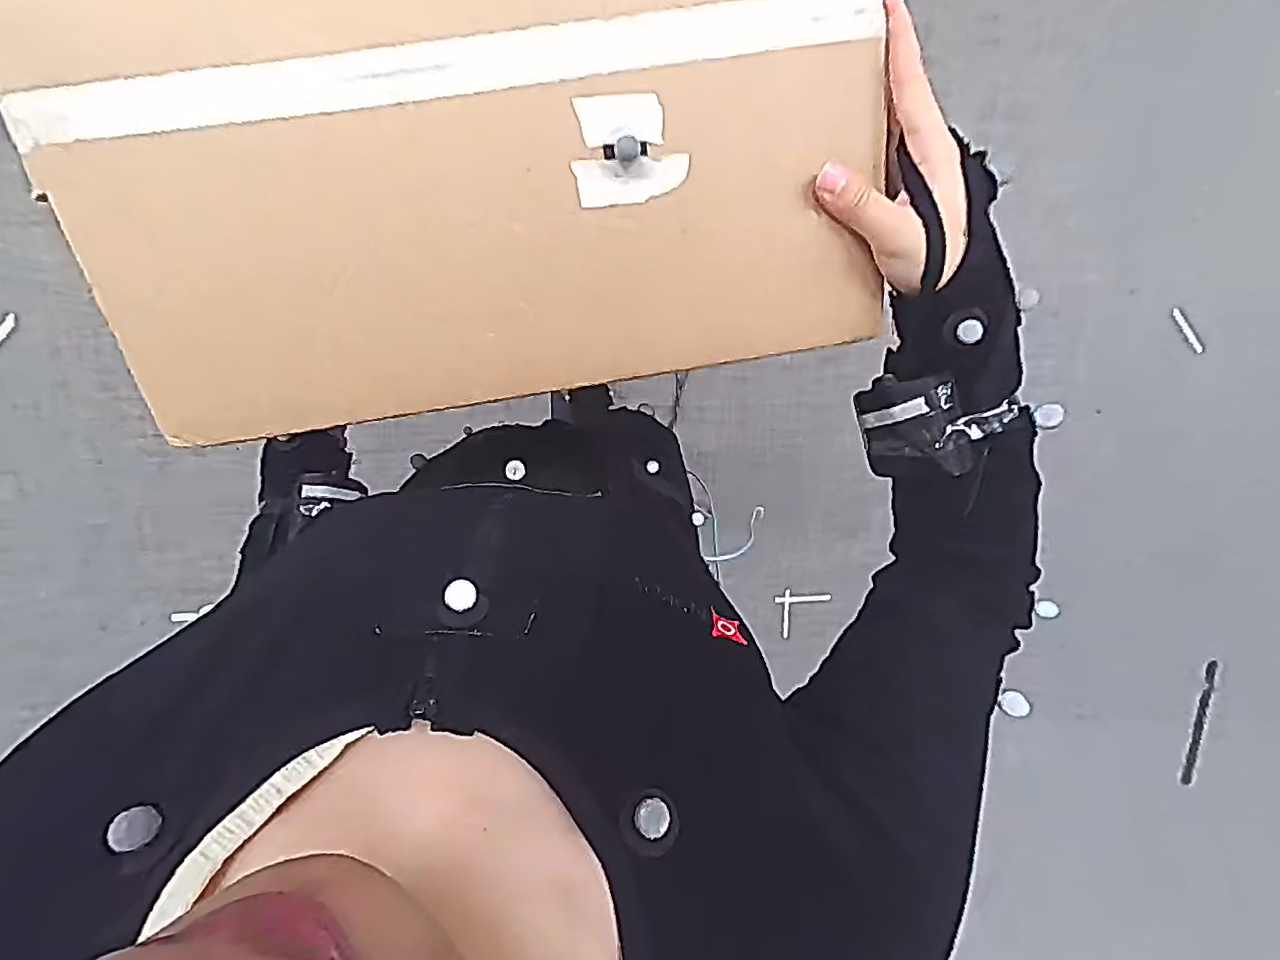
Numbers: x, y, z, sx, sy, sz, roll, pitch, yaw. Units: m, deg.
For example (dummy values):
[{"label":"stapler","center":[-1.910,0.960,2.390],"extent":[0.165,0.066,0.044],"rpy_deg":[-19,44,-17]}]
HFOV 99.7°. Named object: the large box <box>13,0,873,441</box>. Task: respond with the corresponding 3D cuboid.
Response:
[{"label":"large box","center":[-0.096,-0.246,0.408],"extent":[0.408,0.320,0.320],"rpy_deg":[-11,110,-4]}]
